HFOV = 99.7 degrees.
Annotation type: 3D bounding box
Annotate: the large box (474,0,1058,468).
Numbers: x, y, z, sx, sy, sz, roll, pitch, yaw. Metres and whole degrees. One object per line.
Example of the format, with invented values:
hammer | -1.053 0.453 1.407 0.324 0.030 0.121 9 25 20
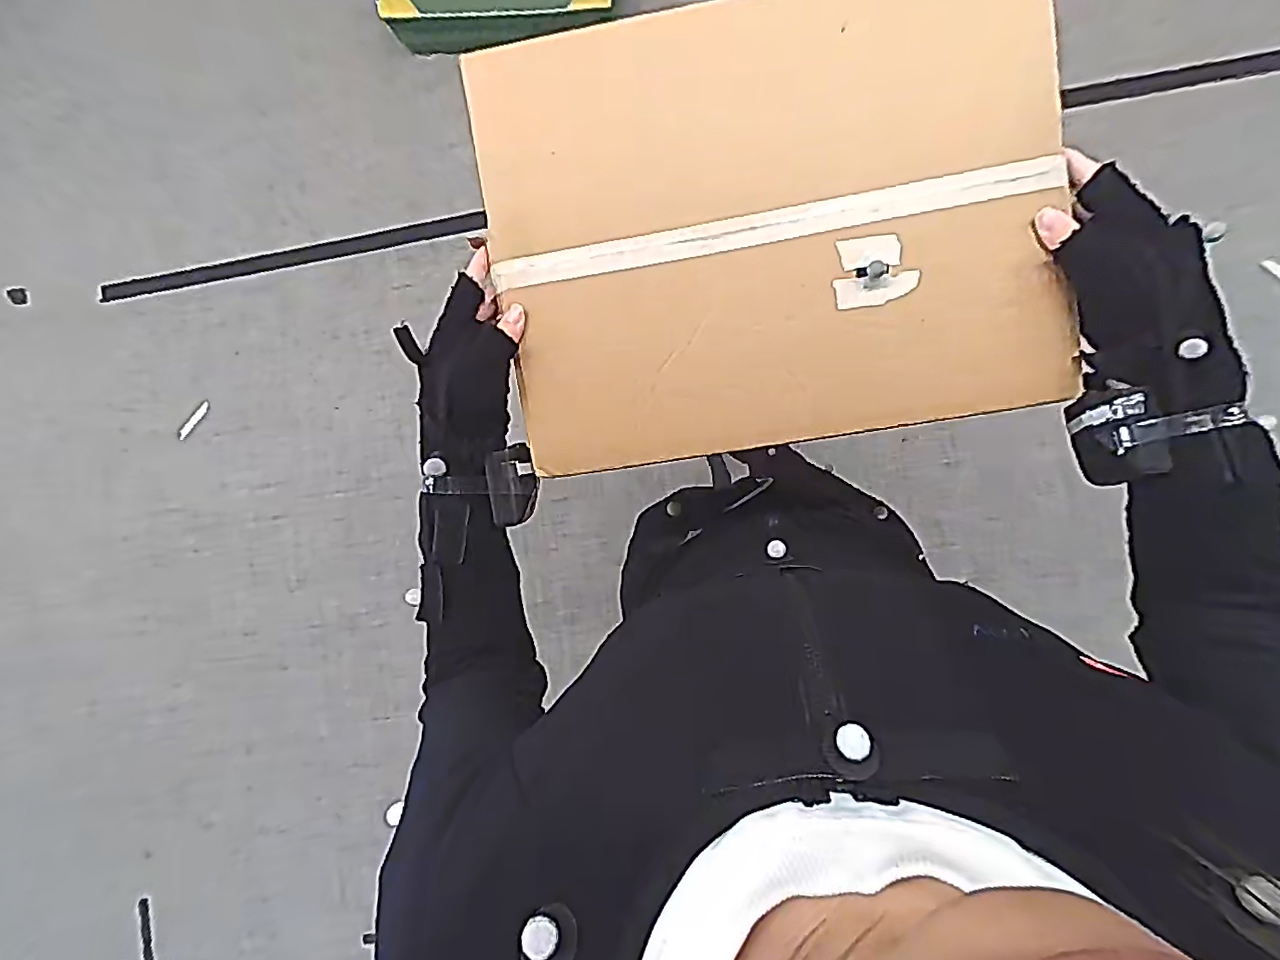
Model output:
large box | 0.101 -0.207 0.553 0.408 0.320 0.320 -9 96 4
